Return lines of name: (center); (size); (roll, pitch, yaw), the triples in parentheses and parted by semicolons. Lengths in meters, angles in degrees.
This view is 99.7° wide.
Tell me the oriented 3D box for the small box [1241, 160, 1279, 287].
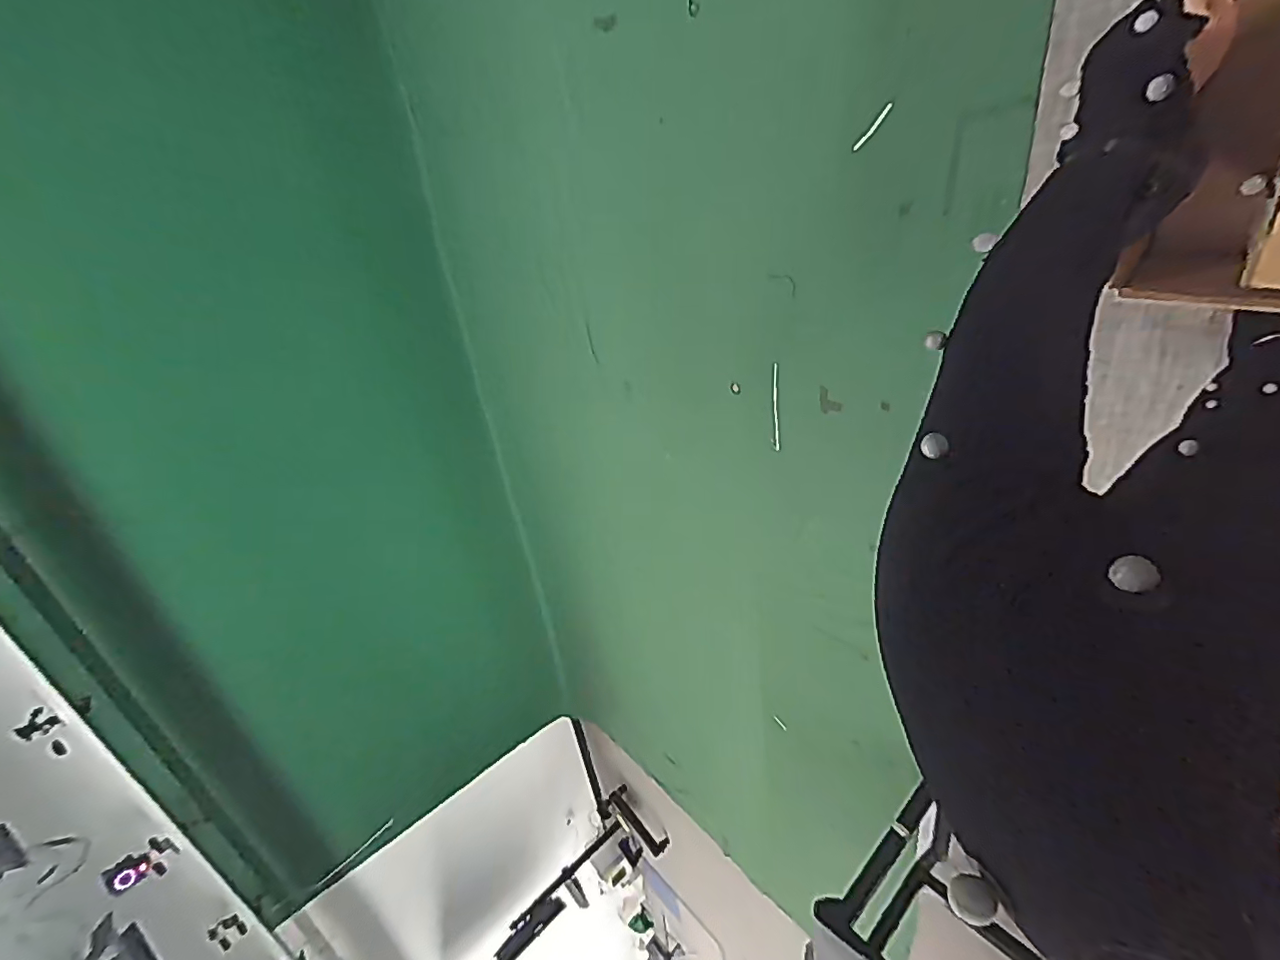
small box: (0.472, -0.201, 0.280); (0.179, 0.176, 0.168); (20, 132, 40)
